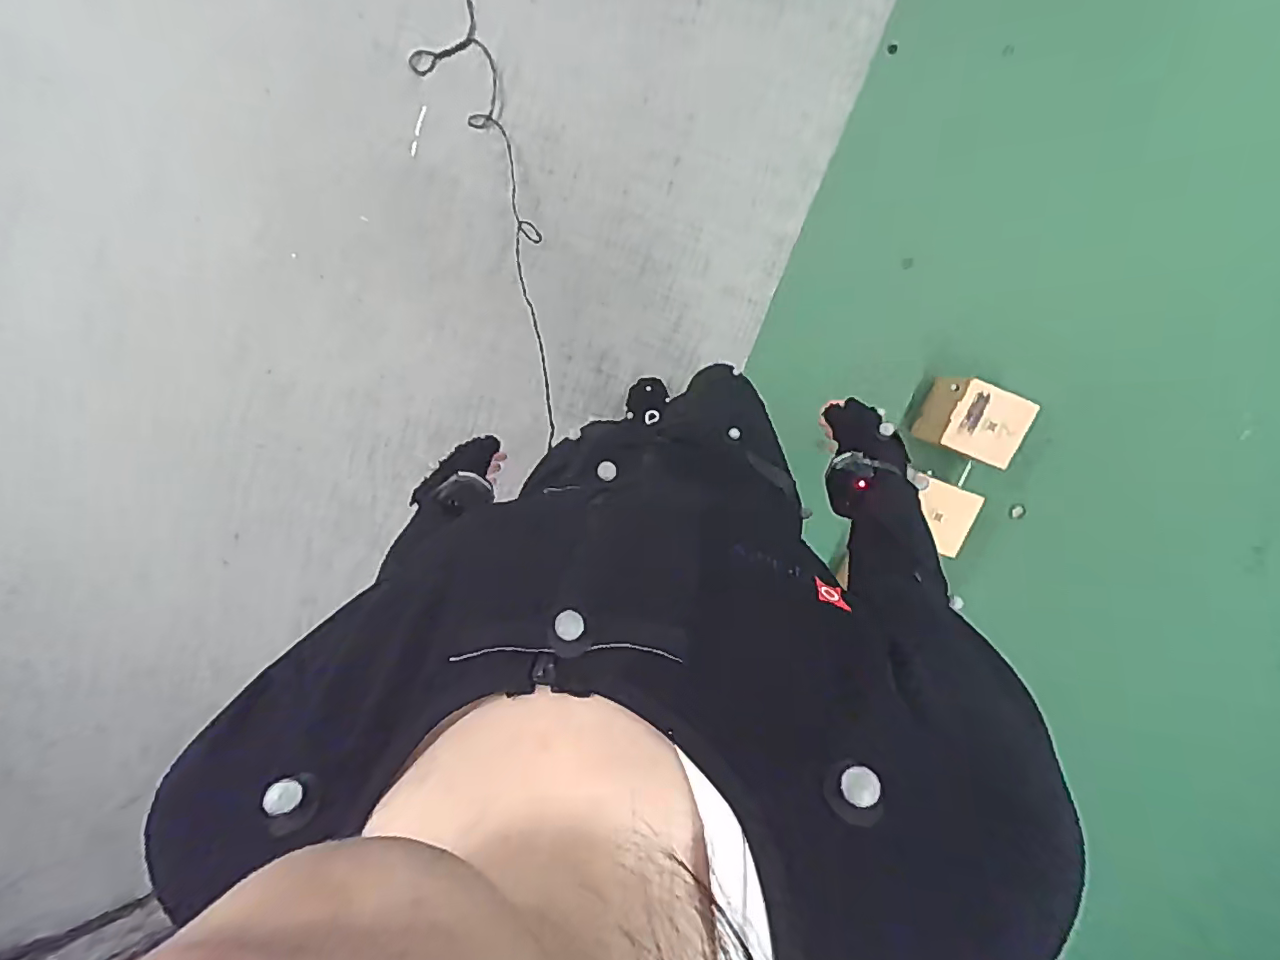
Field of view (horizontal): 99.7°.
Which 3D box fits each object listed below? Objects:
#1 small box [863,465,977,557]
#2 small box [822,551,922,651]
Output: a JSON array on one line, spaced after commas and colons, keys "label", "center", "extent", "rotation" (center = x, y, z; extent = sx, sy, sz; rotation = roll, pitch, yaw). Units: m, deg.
[{"label": "small box", "center": [0.716, 0.072, 1.403], "extent": [0.179, 0.176, 0.168], "rotation": [20, 103, 0]}, {"label": "small box", "center": [0.613, 0.320, 1.459], "extent": [0.168, 0.176, 0.179], "rotation": [23, 103, -2]}]
